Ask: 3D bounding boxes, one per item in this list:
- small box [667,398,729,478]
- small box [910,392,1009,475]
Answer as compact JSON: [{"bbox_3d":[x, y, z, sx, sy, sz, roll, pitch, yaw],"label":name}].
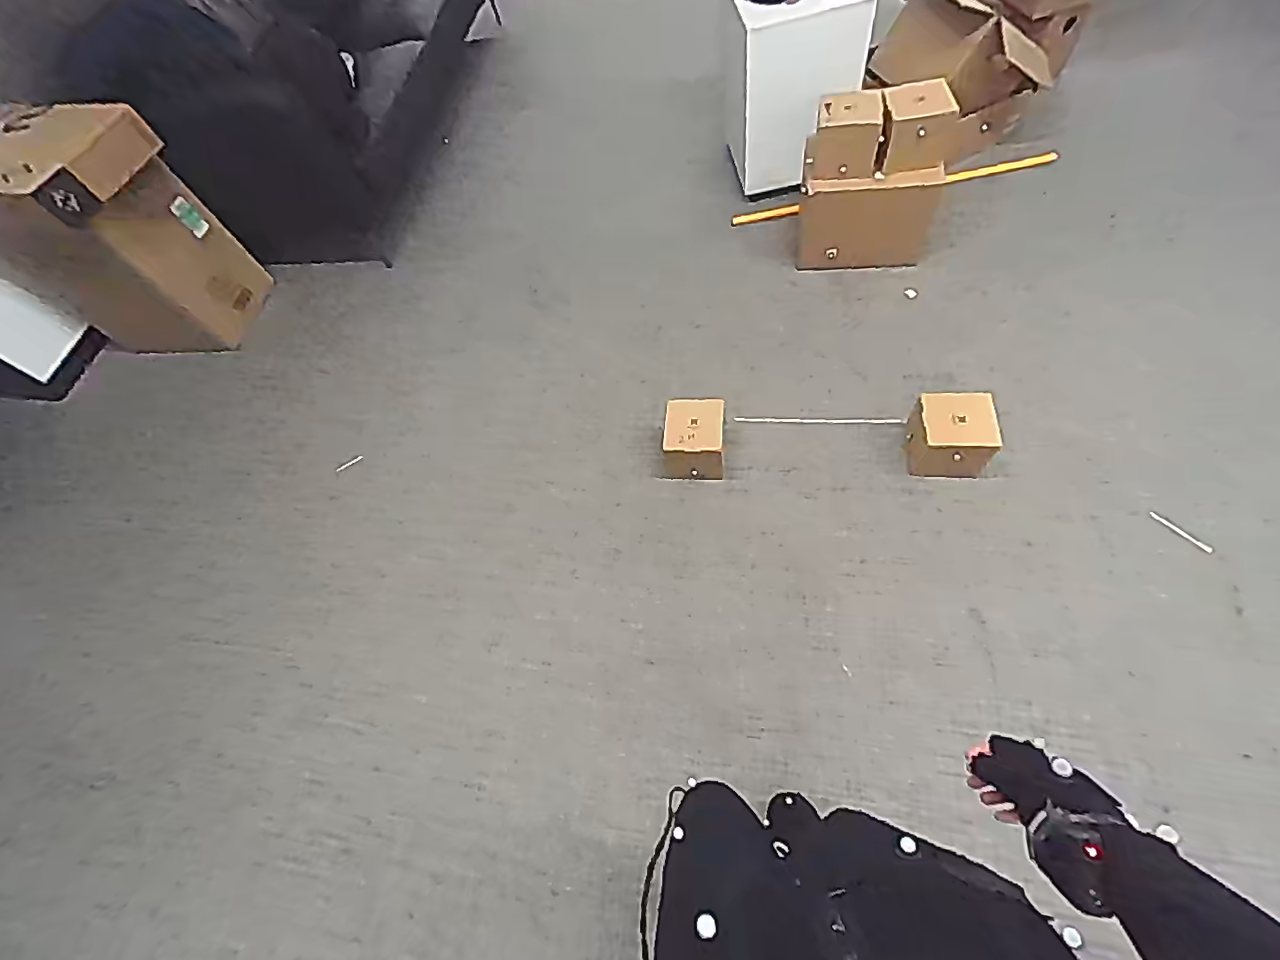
[{"bbox_3d":[0.175,-0.122,1.582,0.168,0.176,0.179,1,63,12],"label":"small box"},{"bbox_3d":[0.848,-0.121,1.454,0.179,0.176,0.168,1,63,12],"label":"small box"}]
